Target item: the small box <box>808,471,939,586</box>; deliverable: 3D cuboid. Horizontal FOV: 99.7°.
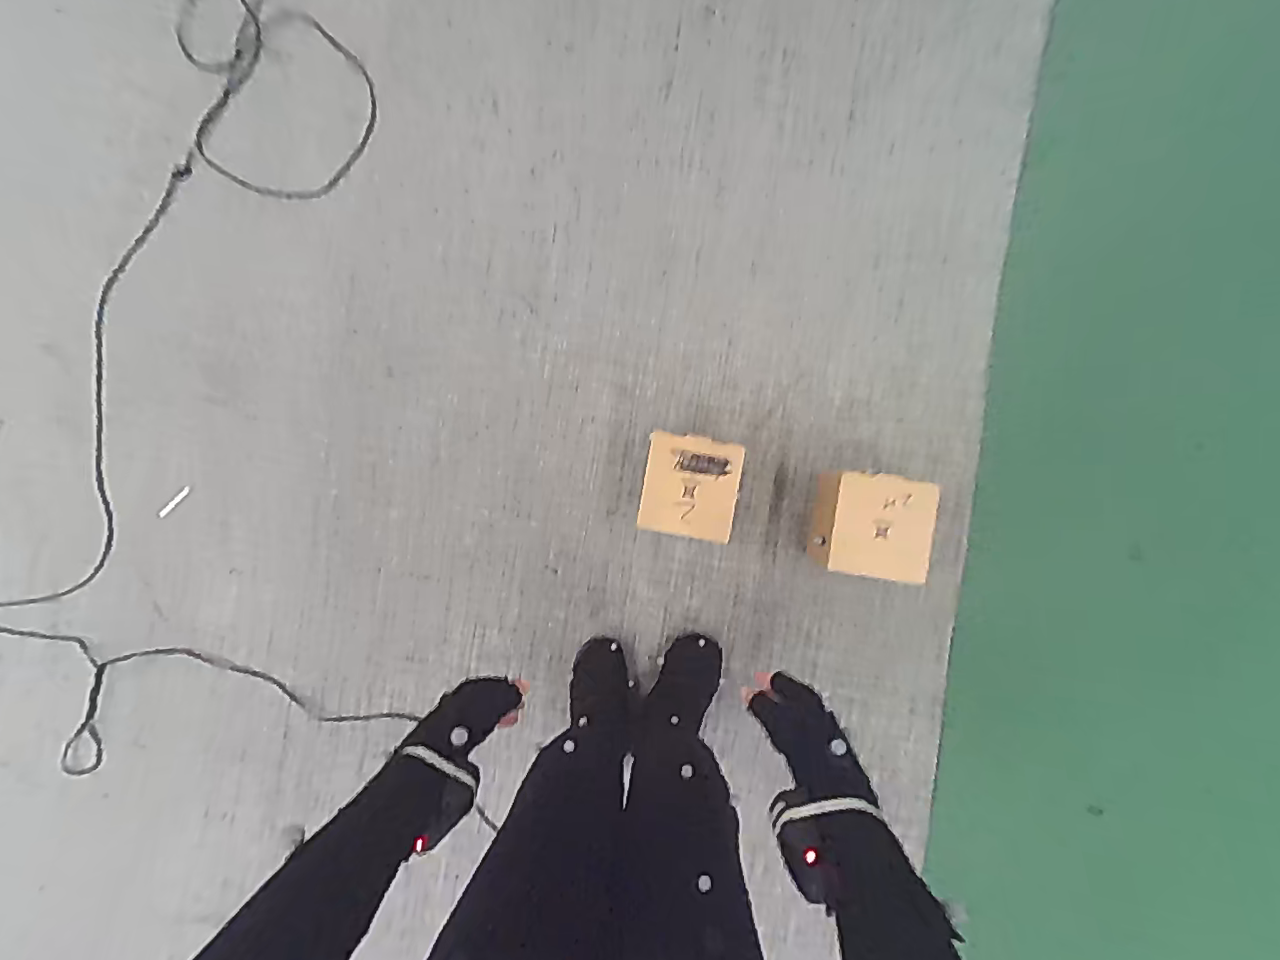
[{"bbox_3d":[0.417,0.083,0.994,0.168,0.176,0.179,9,90,4],"label":"small box"}]
